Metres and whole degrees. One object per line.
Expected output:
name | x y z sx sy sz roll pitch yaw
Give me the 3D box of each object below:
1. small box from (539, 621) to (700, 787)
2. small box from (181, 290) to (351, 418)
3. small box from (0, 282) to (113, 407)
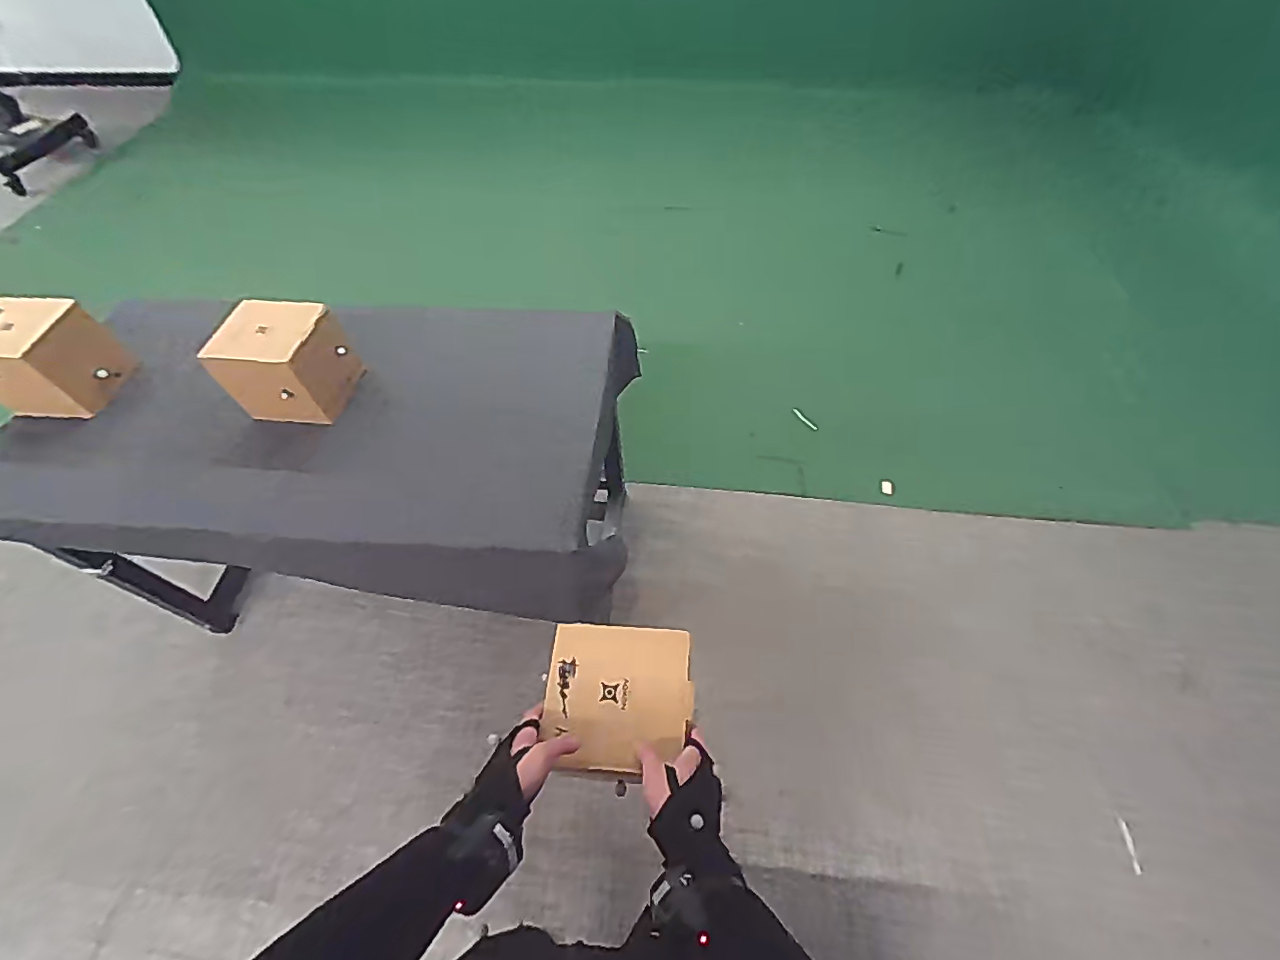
small box | -0.017 0.293 0.697 0.179 0.176 0.168 2 56 4
small box | -0.686 -0.234 1.022 0.179 0.176 0.168 4 54 3
small box | -1.189 -0.255 1.026 0.179 0.176 0.168 3 55 0
